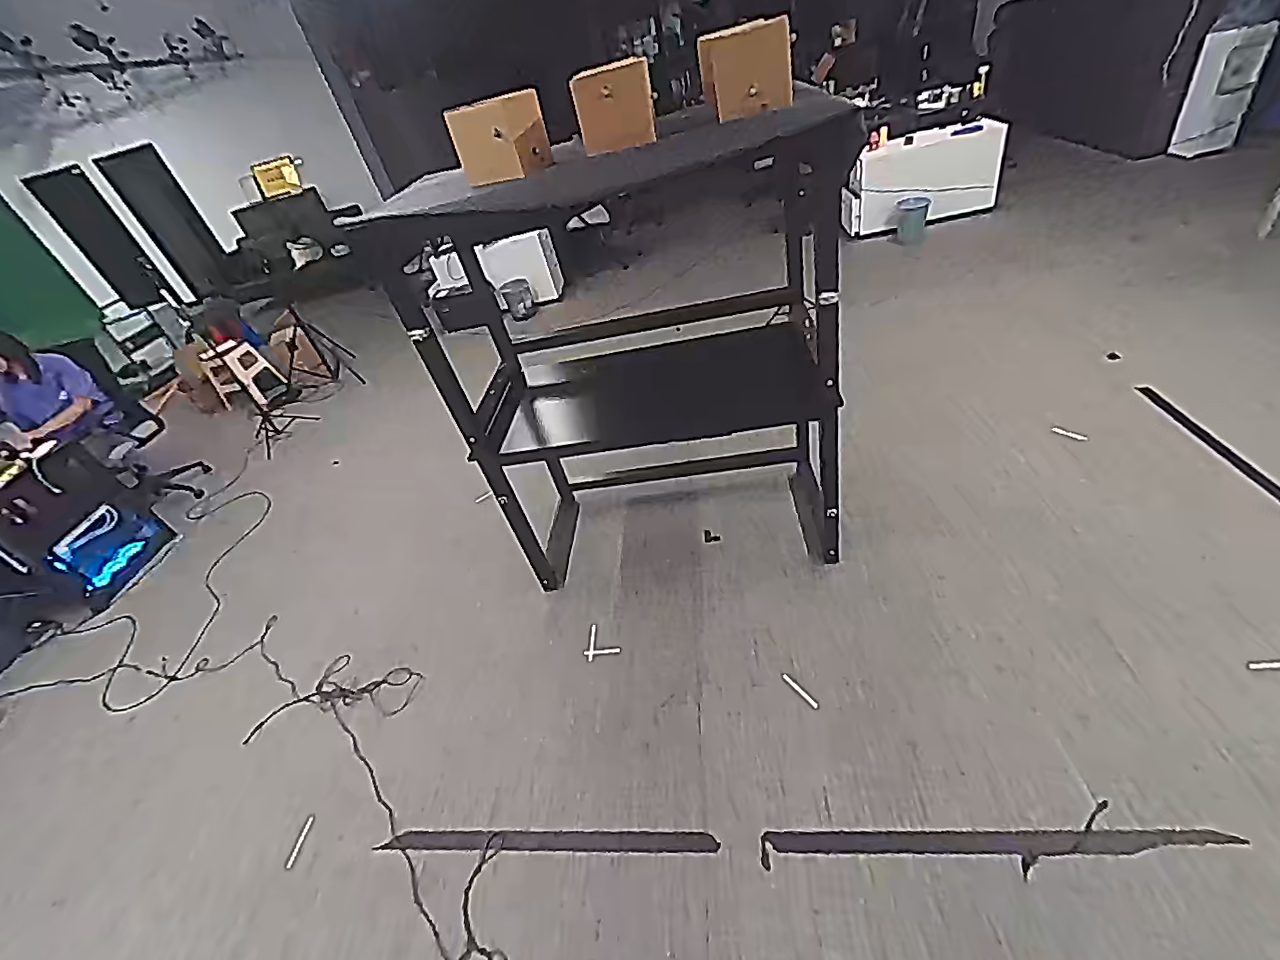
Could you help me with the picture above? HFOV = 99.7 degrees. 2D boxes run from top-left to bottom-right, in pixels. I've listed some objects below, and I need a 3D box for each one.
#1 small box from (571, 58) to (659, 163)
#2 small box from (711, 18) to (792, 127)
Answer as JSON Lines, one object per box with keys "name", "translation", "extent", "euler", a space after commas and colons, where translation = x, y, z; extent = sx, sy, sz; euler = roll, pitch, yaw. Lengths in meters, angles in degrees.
{"name": "small box", "translation": [-0.051, -0.904, 1.326], "extent": [0.179, 0.176, 0.168], "euler": [-8, 39, 11]}
{"name": "small box", "translation": [0.264, -0.942, 1.255], "extent": [0.168, 0.176, 0.179], "euler": [-3, 40, 17]}
